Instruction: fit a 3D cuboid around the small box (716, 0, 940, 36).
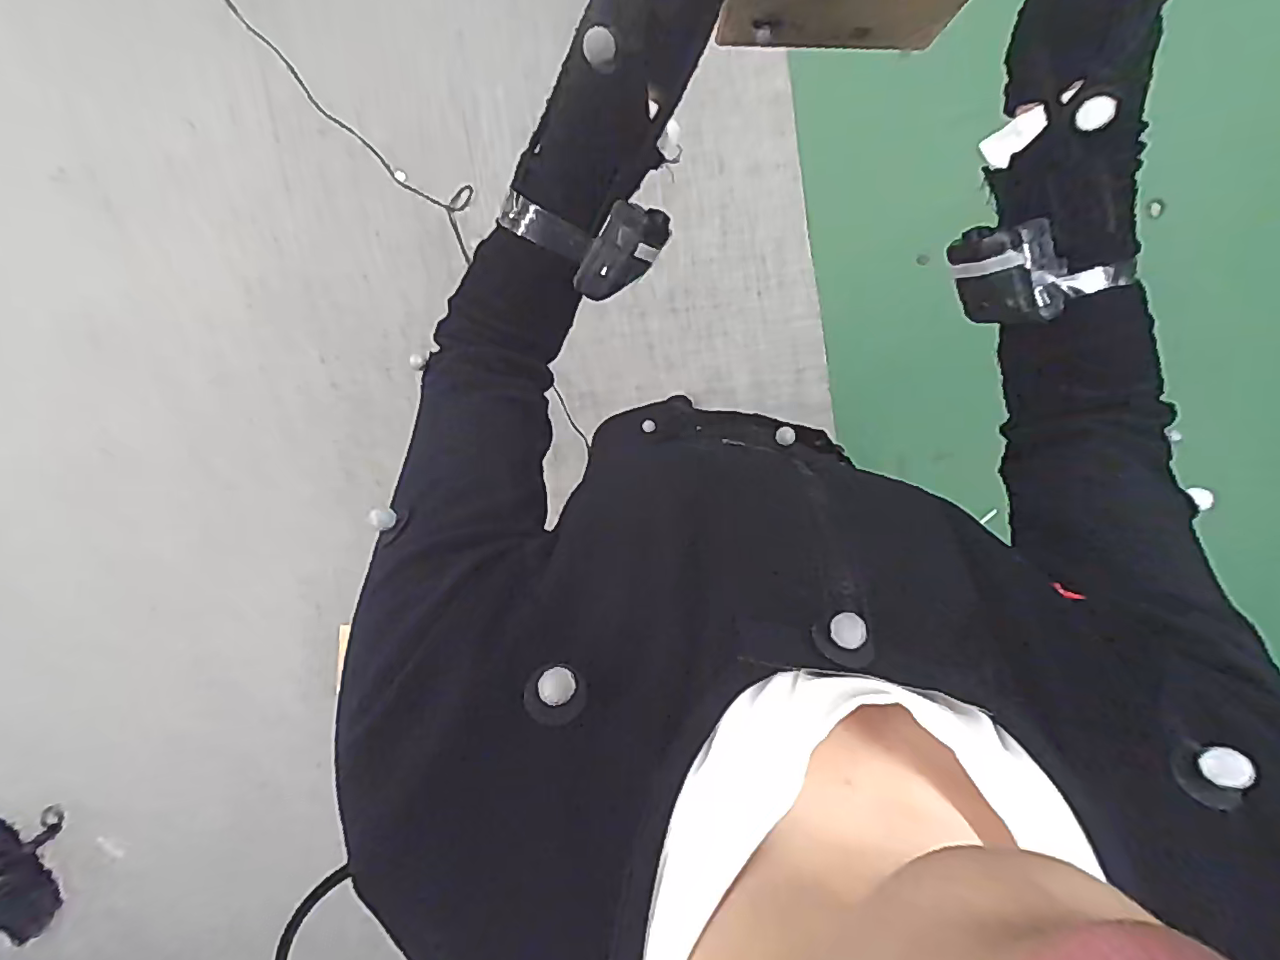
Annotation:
[{"bbox_3d":[0.134,-0.405,0.317,0.168,0.176,0.179,1,100,-1],"label":"small box"}]
